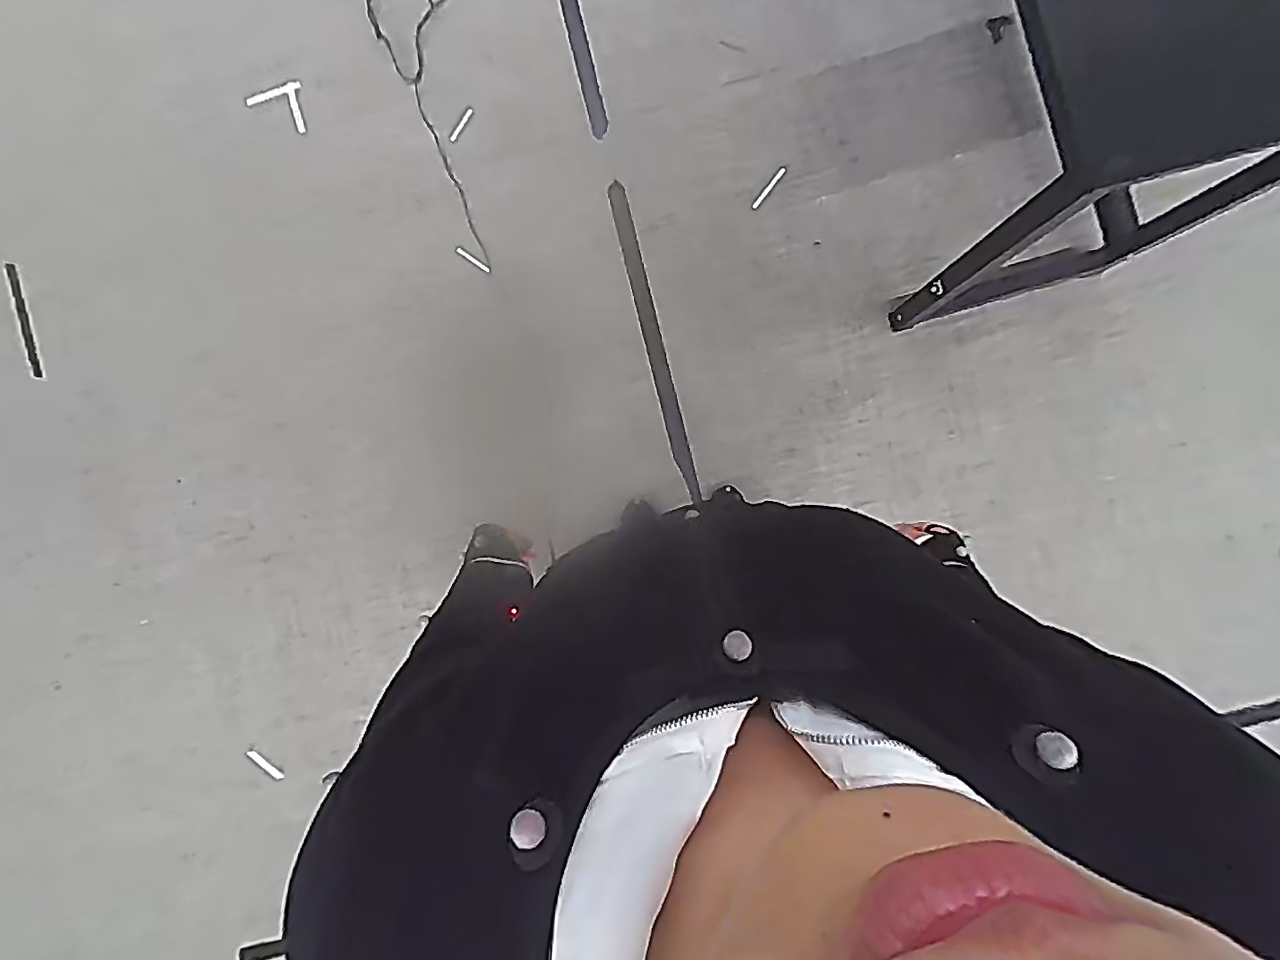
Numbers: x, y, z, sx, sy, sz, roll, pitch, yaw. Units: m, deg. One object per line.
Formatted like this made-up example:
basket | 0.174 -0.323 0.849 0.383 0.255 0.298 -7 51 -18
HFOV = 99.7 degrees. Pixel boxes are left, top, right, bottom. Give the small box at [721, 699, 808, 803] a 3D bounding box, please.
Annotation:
small box | 0.312 0.693 1.397 0.179 0.176 0.168 -15 88 3
